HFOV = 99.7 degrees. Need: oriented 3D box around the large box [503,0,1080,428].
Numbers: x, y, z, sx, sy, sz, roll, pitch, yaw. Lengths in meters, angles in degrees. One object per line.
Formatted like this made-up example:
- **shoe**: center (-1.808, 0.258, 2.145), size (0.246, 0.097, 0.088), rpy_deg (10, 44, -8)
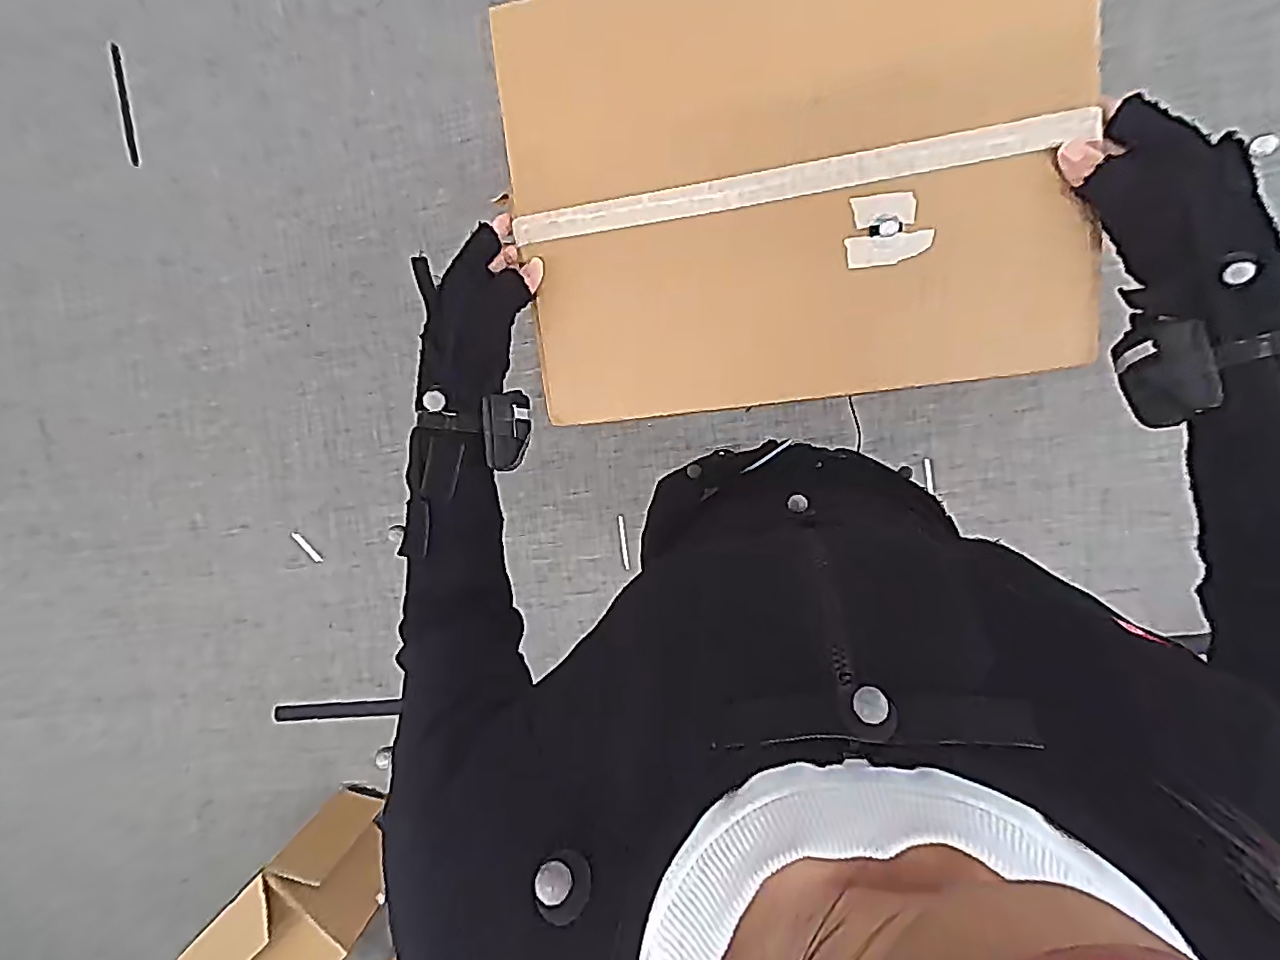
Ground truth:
- **large box**: center (0.127, -0.240, 0.551), size (0.408, 0.320, 0.320), rpy_deg (-6, 99, 9)
